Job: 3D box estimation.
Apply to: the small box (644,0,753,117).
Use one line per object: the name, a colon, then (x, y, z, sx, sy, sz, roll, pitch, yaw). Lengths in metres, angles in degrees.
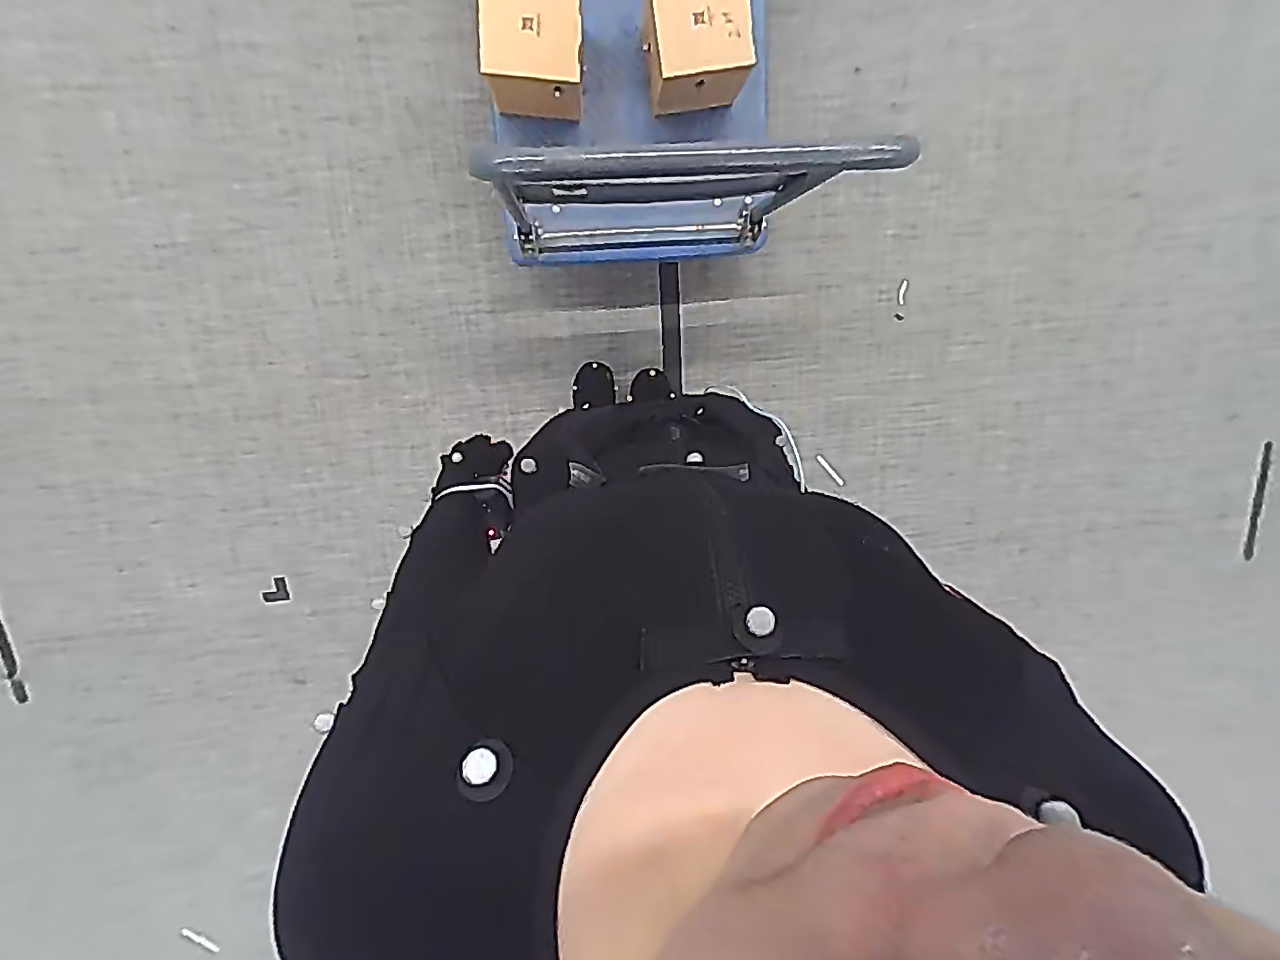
small box: (0.105, -0.833, 1.045, 0.179, 0.176, 0.168, -10, 105, -3)

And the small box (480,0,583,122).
small box: (-0.198, -0.806, 1.024, 0.179, 0.176, 0.168, 1, 103, -7)
